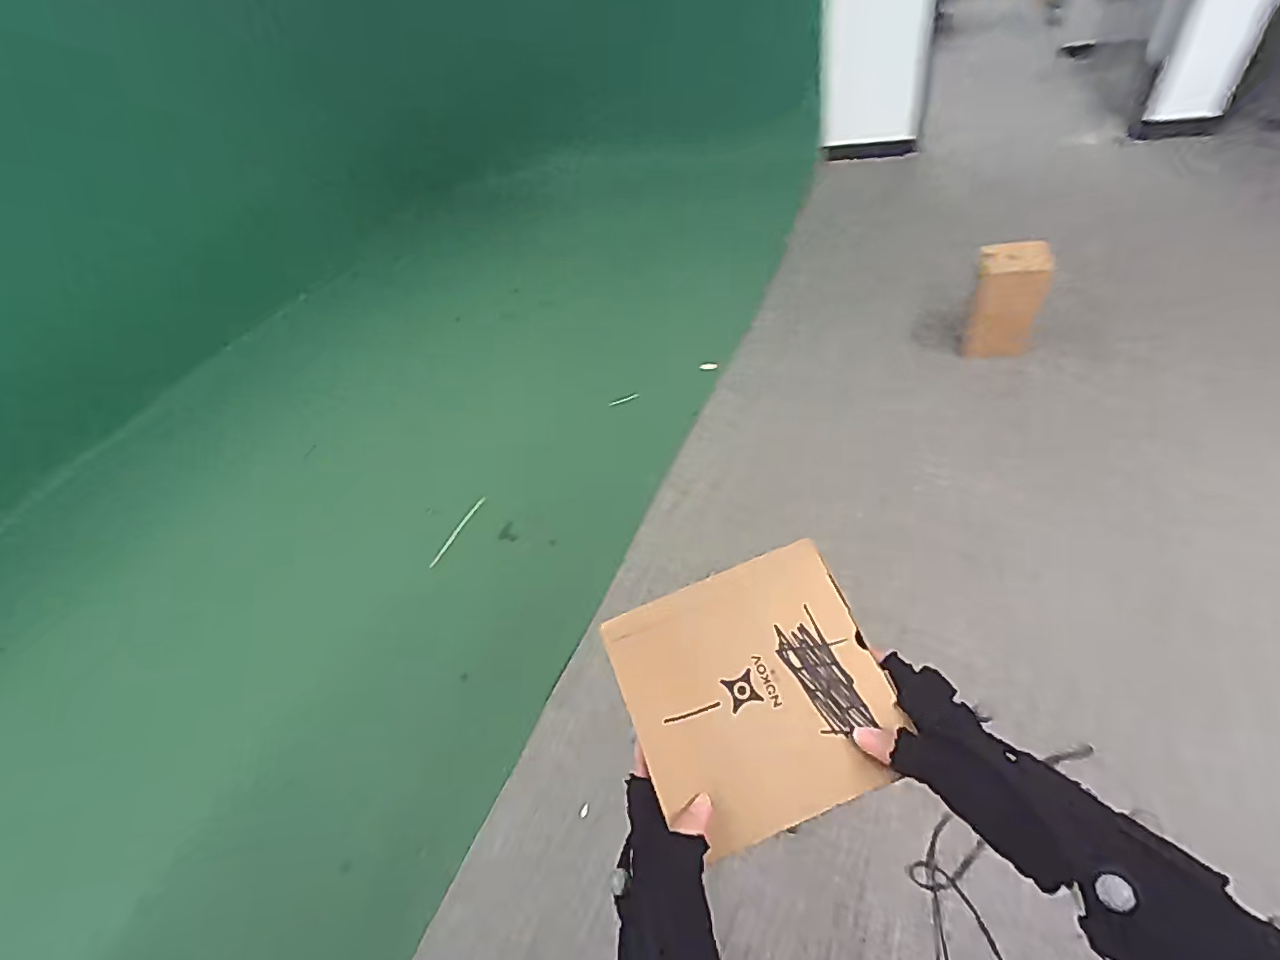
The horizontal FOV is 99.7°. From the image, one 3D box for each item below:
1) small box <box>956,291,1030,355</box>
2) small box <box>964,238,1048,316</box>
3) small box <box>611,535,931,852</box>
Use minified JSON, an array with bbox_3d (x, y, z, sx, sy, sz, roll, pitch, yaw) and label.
[{"bbox_3d":[1.222,-0.554,1.883,0.179,0.176,0.168,0,51,20],"label":"small box"},{"bbox_3d":[1.185,-0.656,1.764,0.179,0.176,0.168,-1,52,18],"label":"small box"},{"bbox_3d":[0.091,0.169,0.450,0.179,0.176,0.168,-21,65,-2],"label":"small box"}]
